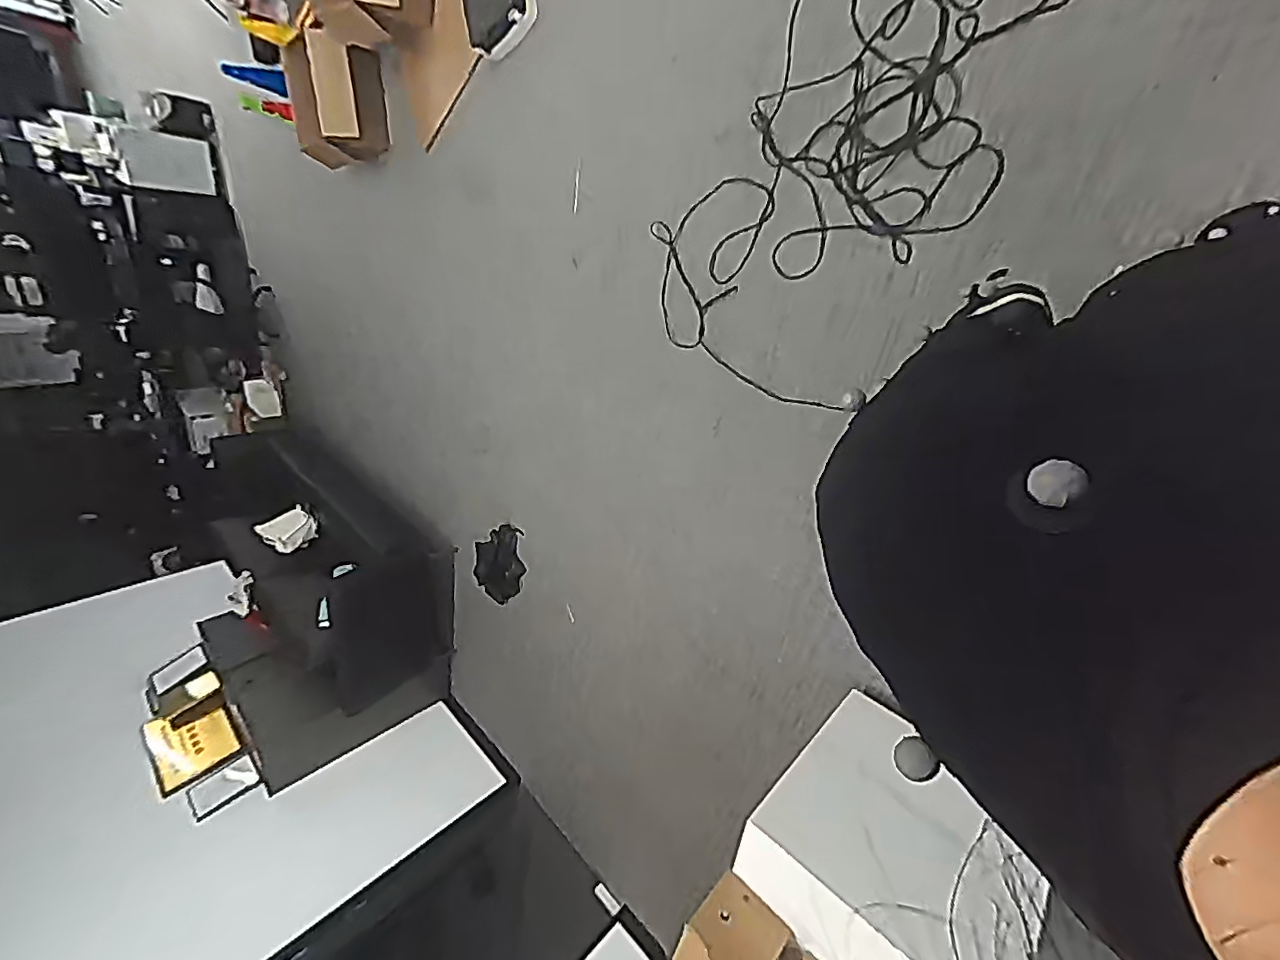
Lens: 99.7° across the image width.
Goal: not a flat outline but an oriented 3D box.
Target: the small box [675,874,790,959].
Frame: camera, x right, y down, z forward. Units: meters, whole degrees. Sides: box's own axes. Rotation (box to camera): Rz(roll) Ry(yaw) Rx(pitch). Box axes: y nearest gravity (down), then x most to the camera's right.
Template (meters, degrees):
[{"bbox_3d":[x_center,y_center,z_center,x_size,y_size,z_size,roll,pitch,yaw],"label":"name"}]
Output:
[{"bbox_3d":[0.198,1.002,1.155,0.168,0.176,0.179,30,124,34],"label":"small box"}]
